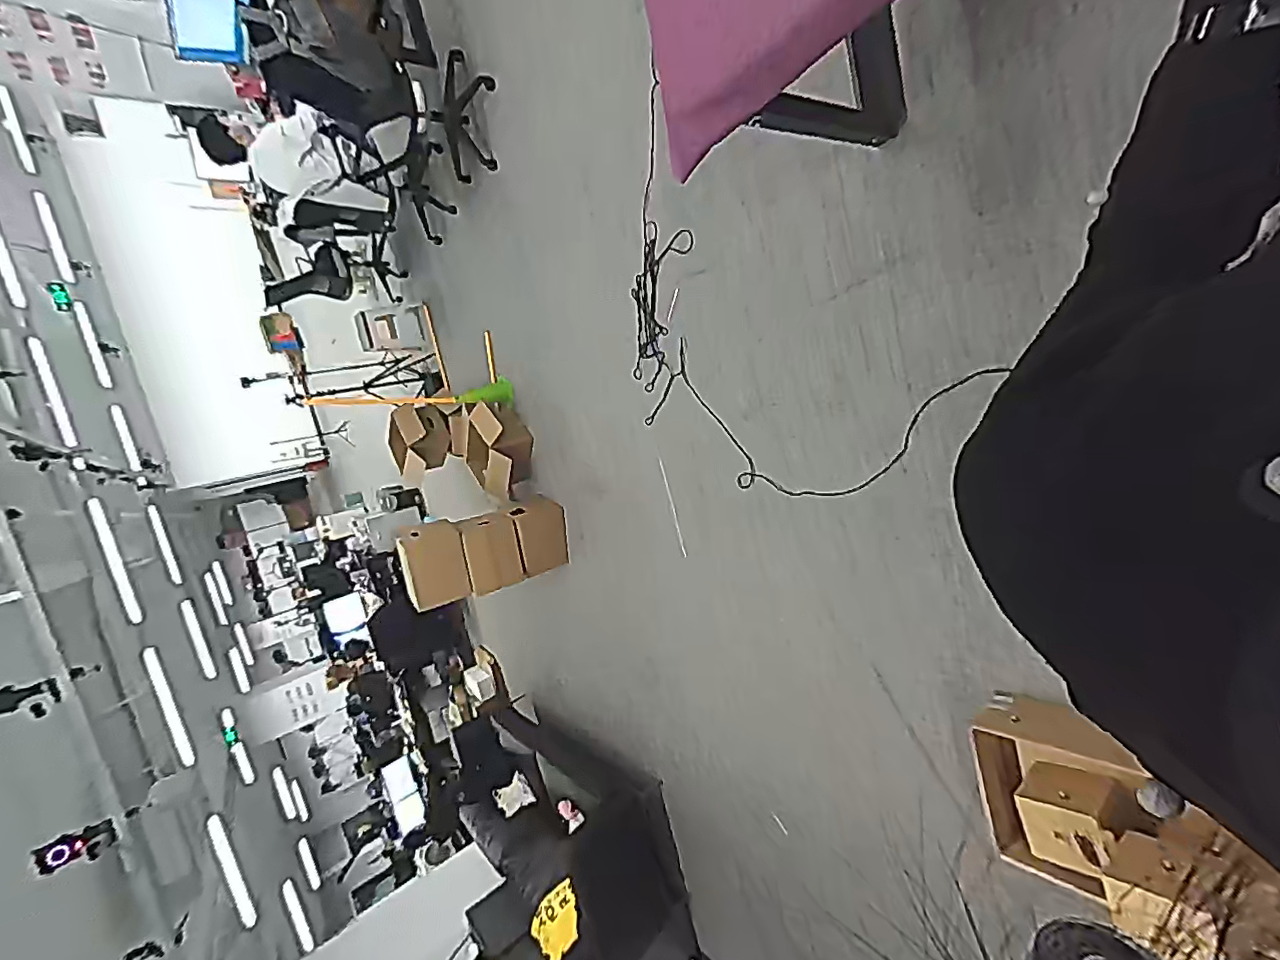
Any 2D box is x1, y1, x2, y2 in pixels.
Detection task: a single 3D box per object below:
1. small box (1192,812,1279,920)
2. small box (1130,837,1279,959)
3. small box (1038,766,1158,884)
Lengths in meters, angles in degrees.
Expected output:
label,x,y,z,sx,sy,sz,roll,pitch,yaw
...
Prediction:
label,x,y,z,sx,sy,sz,roll,pitch,yaw
small box,1.285,0.832,1.118,0.179,0.176,0.168,-13,92,59
small box,1.123,0.859,1.070,0.168,0.176,0.179,-17,89,59
small box,1.137,0.843,1.337,0.179,0.176,0.168,-20,88,56
